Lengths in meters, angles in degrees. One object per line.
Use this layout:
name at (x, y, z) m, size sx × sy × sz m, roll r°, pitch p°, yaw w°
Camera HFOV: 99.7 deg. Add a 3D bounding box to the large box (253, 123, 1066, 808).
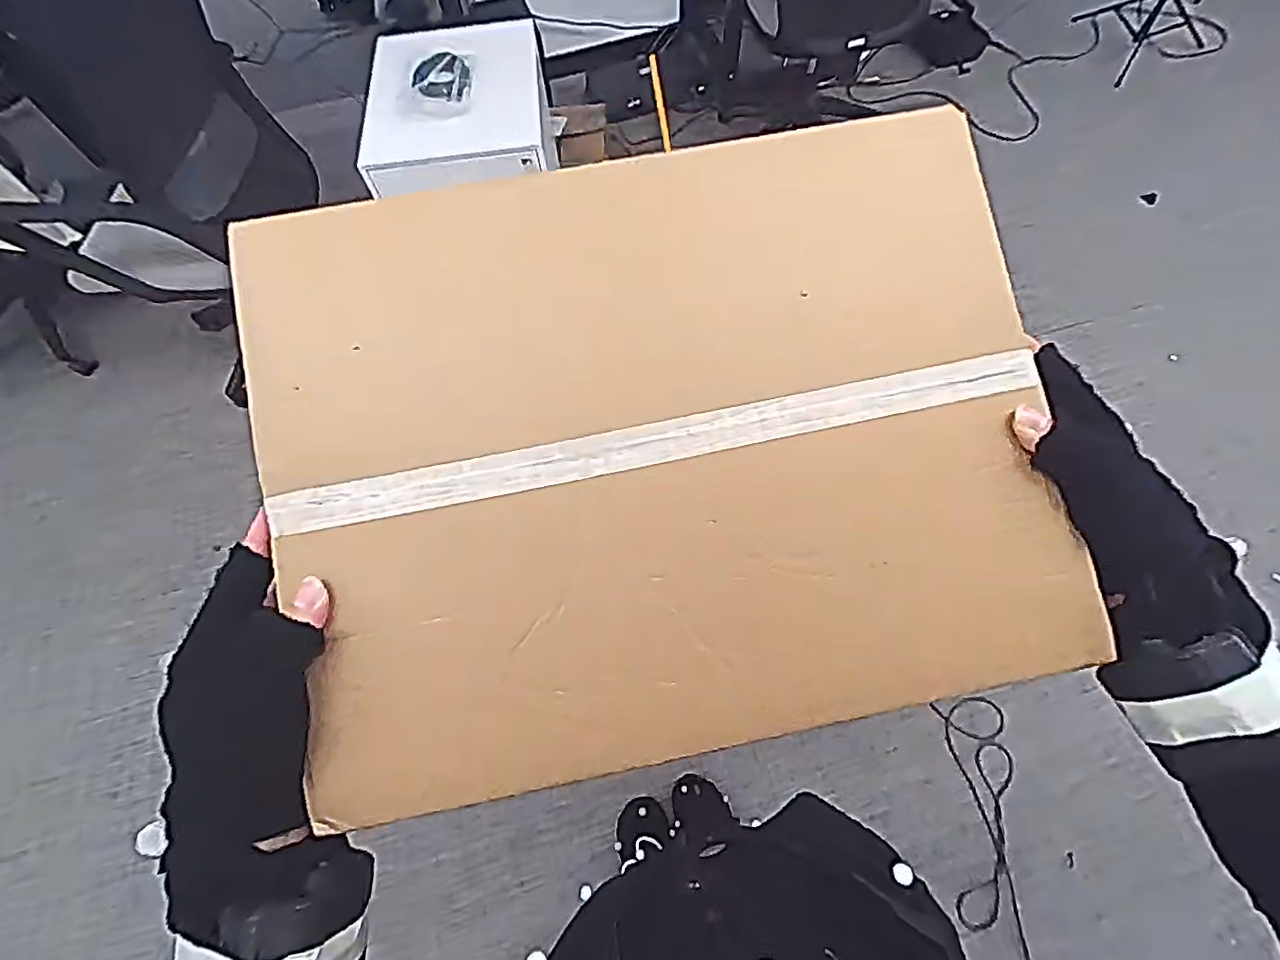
large box at (0.006, -0.010, 0.442) m, size 0.408 × 0.320 × 0.320 m, roll -11°, pitch 84°, yaw -3°
